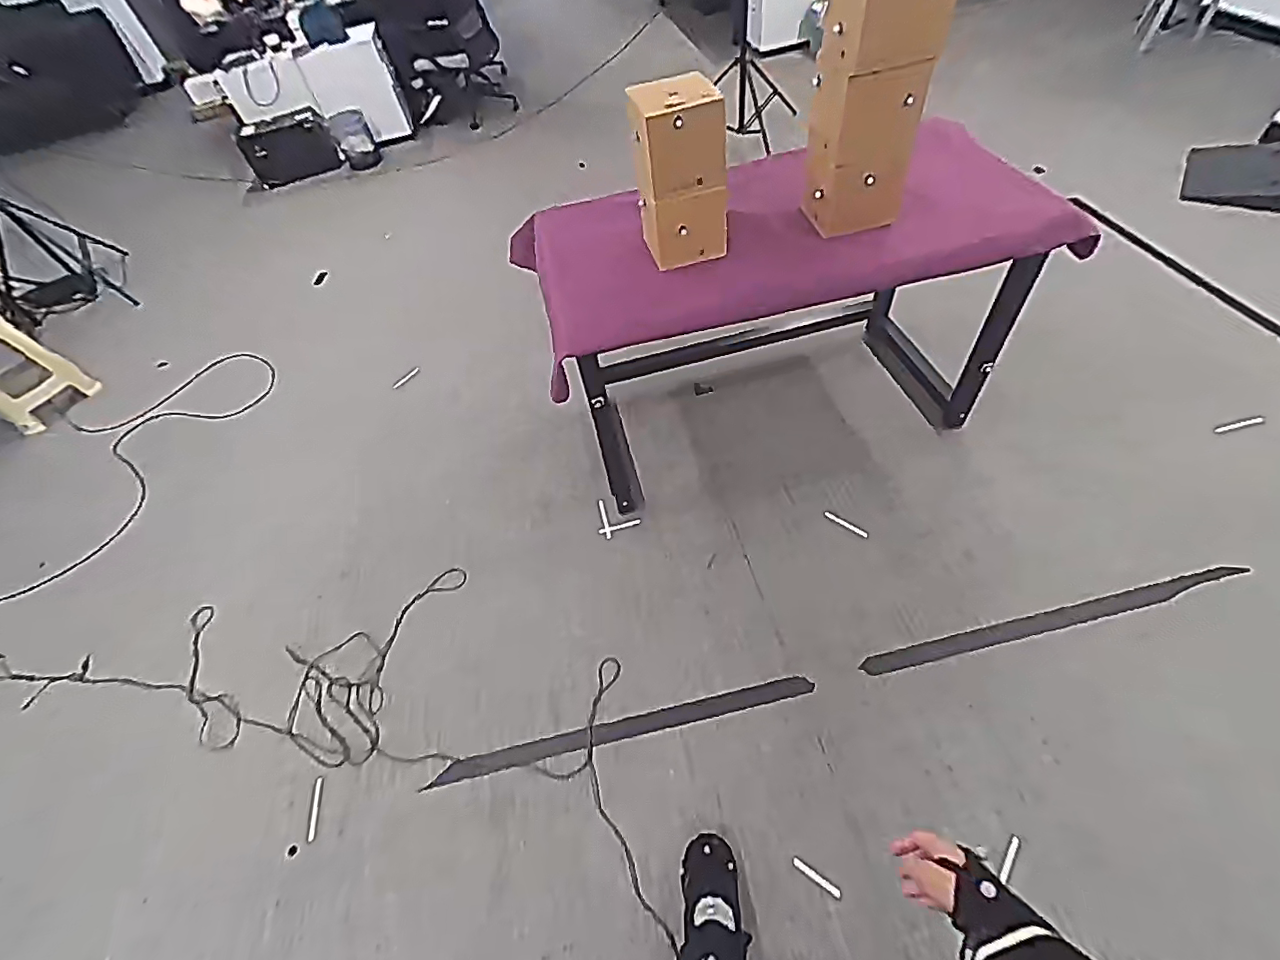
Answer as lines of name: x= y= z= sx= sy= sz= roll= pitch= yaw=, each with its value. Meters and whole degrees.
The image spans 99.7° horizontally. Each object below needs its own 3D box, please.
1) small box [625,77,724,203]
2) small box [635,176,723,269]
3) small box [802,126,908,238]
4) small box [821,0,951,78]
small box: x=0.075 y=-0.728 z=1.162 sx=0.168 sy=0.176 sz=0.179 roll=-17 pitch=52 yaw=-3
small box: x=0.097 y=-0.625 z=1.288 sx=0.168 sy=0.176 sz=0.179 roll=-15 pitch=52 yaw=-2
small box: x=0.494 y=-0.698 z=1.277 sx=0.179 sy=0.176 sz=0.168 roll=-13 pitch=53 yaw=-1
small box: x=0.461 y=-0.893 z=1.013 sx=0.179 sy=0.176 sz=0.168 roll=-14 pitch=53 yaw=0
